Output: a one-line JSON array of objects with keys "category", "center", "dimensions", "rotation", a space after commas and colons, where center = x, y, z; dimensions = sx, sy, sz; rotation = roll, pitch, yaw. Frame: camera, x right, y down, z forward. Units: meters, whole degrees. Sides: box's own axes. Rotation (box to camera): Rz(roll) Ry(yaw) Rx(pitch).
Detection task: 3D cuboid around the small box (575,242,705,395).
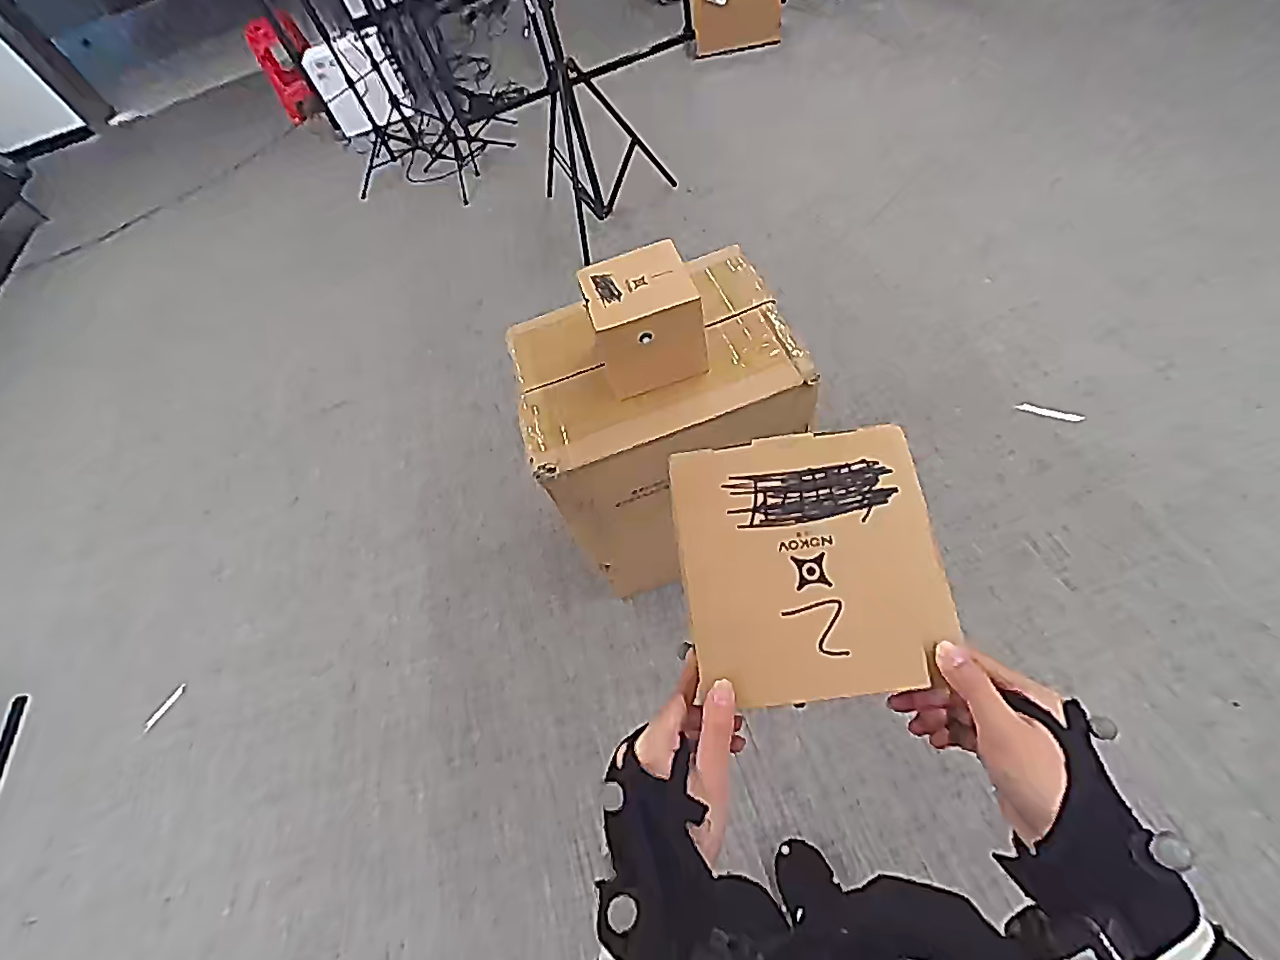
[{"category": "small box", "center": [0.004, -0.276, 0.952], "dimensions": [0.179, 0.176, 0.168], "rotation": [-19, 57, 1]}]
